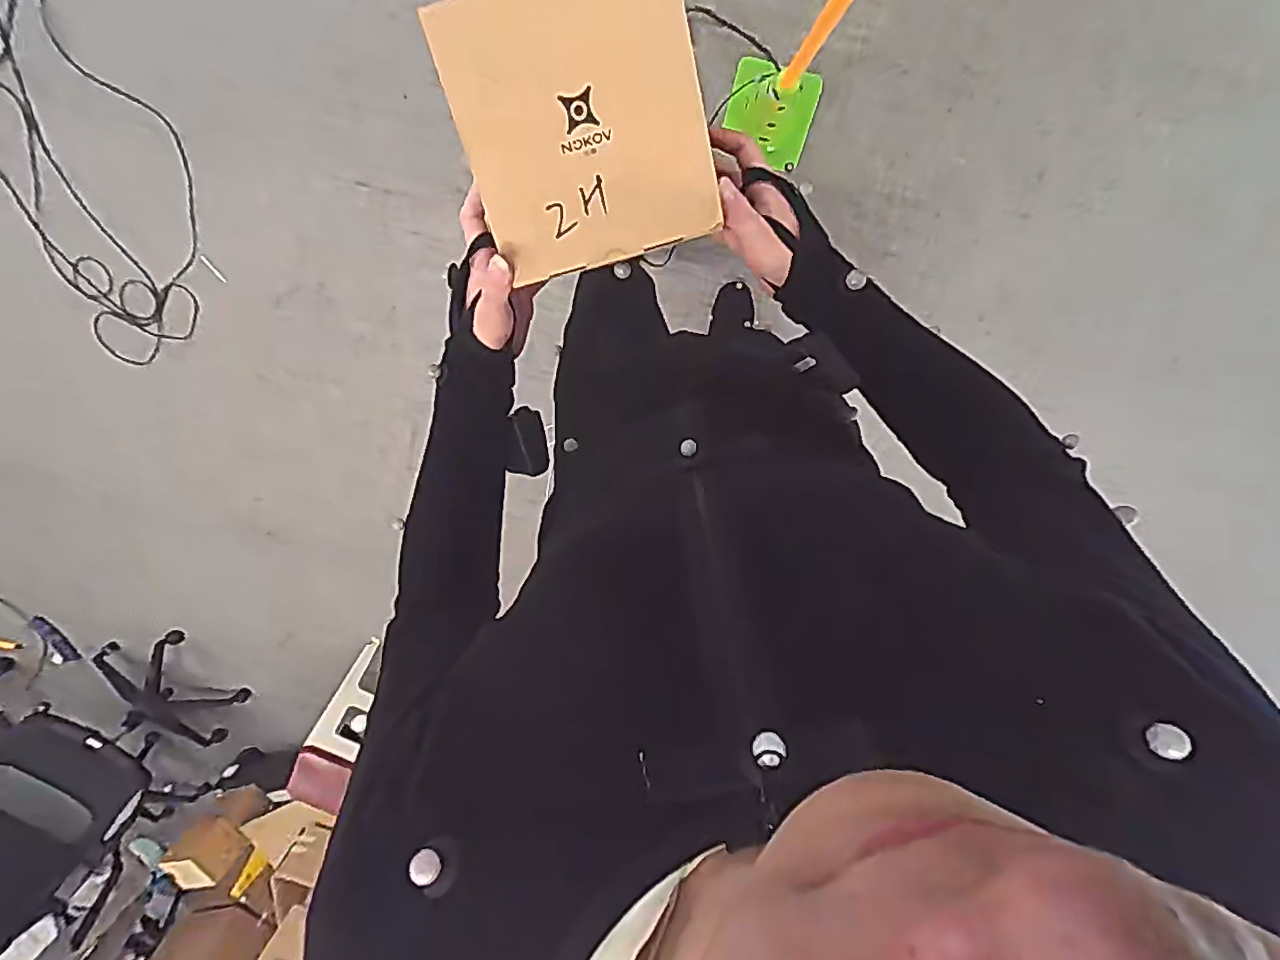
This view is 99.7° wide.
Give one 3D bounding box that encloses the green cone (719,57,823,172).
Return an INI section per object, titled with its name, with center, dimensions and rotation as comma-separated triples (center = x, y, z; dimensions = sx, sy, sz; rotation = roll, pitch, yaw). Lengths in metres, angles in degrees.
[green cone]
center = 0.283, -0.787, 1.118
dimensions = 0.202, 0.368, 0.200
rotation = 16, 116, 1

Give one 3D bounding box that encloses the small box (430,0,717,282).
[small box]
center = -0.040, -0.275, 0.448
dimensions = 0.168, 0.176, 0.179
rotation = -12, 113, 6
